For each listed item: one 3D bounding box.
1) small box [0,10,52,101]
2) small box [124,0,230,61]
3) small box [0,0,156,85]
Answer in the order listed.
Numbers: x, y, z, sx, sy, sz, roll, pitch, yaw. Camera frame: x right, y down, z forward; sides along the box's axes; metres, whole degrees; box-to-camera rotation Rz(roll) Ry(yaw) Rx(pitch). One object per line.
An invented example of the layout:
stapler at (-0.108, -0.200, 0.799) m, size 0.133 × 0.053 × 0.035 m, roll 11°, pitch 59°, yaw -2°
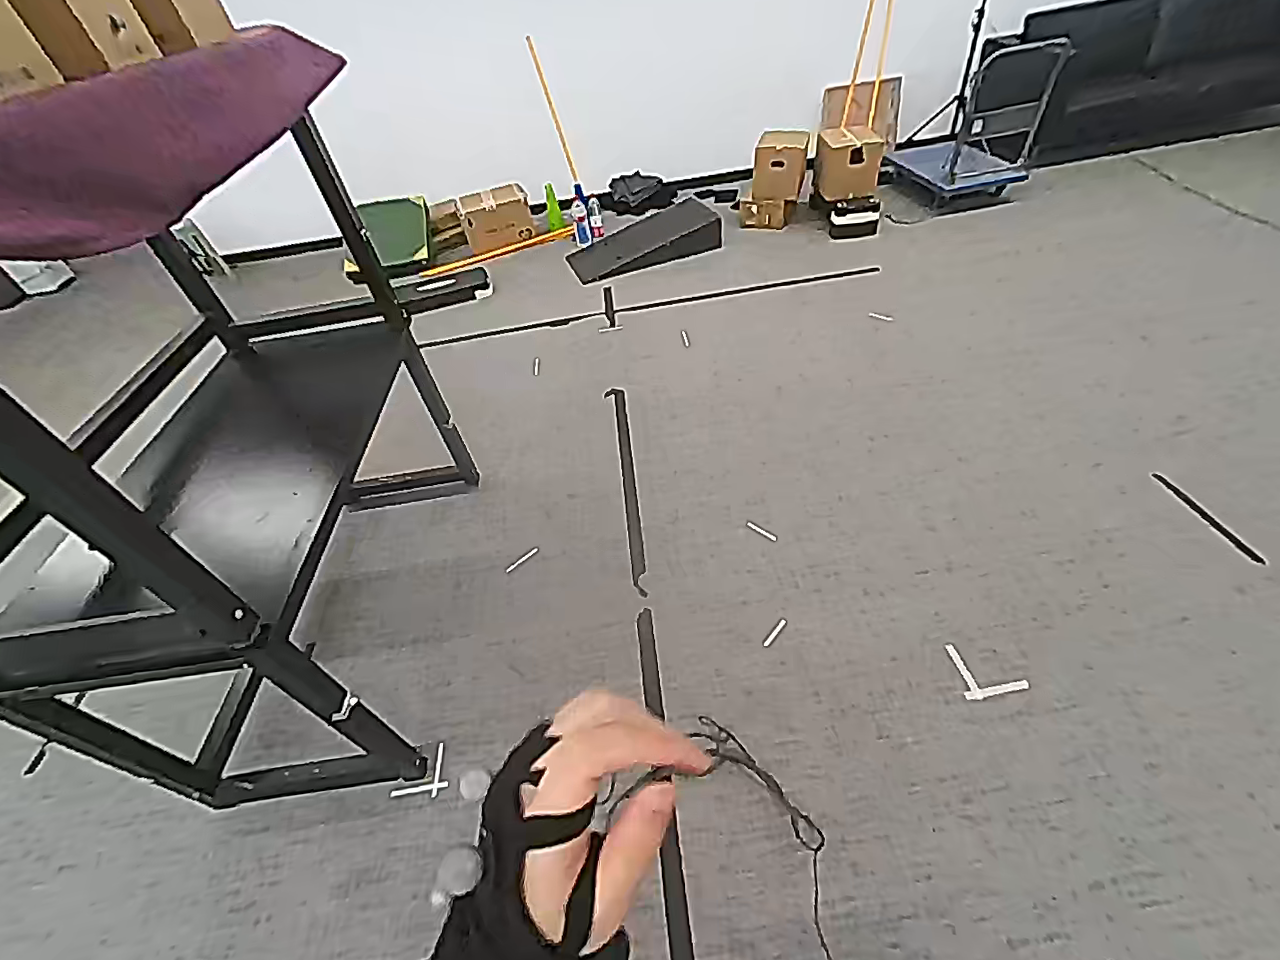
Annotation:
small box at (-0.926, -0.560, 0.672) m, size 0.179 × 0.176 × 0.168 m, roll -11°, pitch 44°, yaw 0°
small box at (-0.959, -0.939, 1.059) m, size 0.168 × 0.176 × 0.179 m, roll -8°, pitch 46°, yaw 3°
small box at (-0.947, -0.742, 0.858) m, size 0.179 × 0.176 × 0.168 m, roll -10°, pitch 45°, yaw 0°
